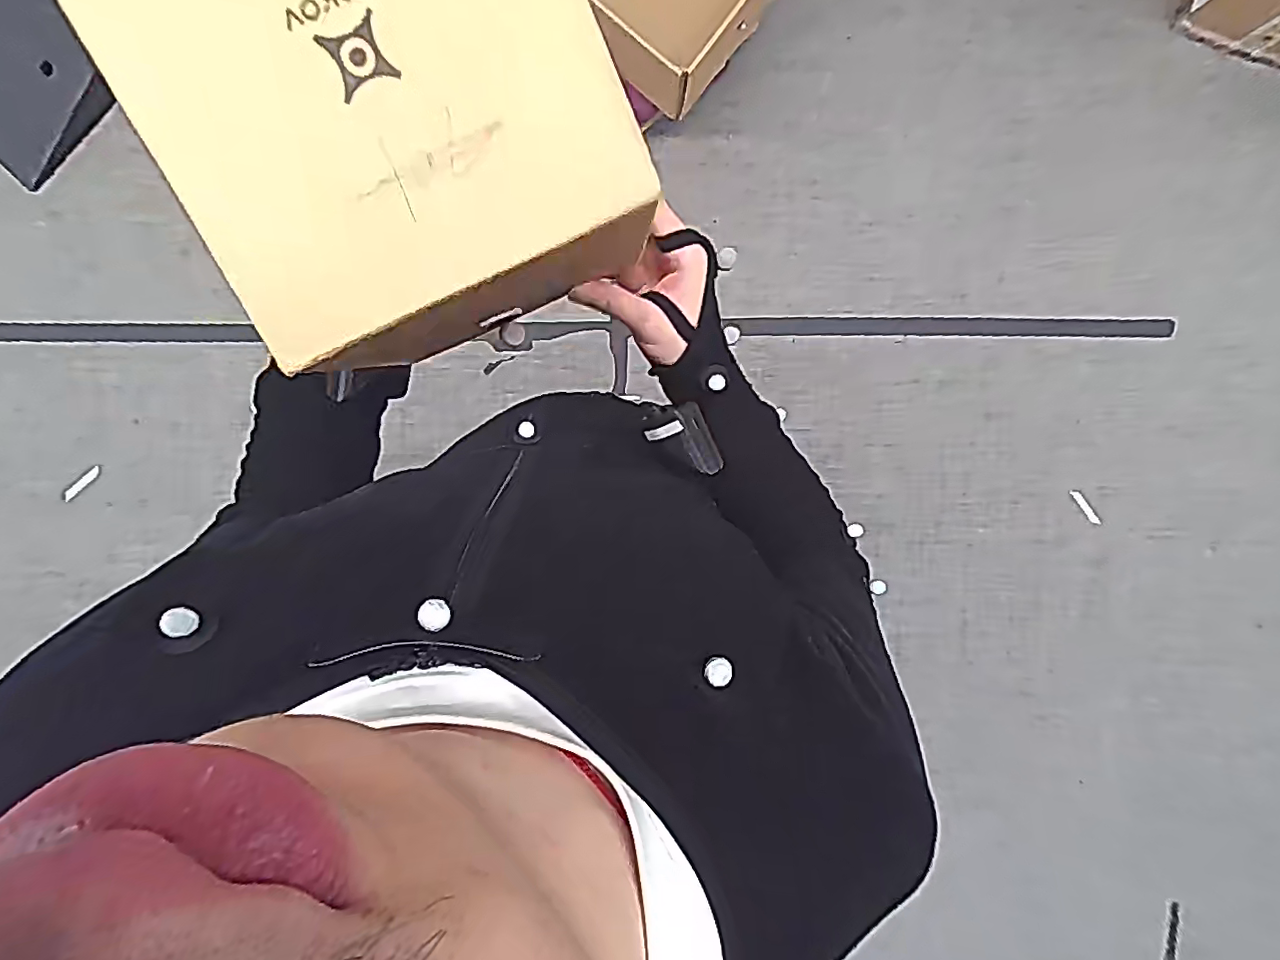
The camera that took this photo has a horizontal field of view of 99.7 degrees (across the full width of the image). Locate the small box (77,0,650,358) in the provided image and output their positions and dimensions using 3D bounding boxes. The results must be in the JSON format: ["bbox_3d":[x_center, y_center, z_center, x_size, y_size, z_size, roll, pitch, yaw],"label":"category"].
[{"bbox_3d":[-0.107,-0.173,0.278,0.168,0.176,0.179,-25,103,4],"label":"small box"}]
